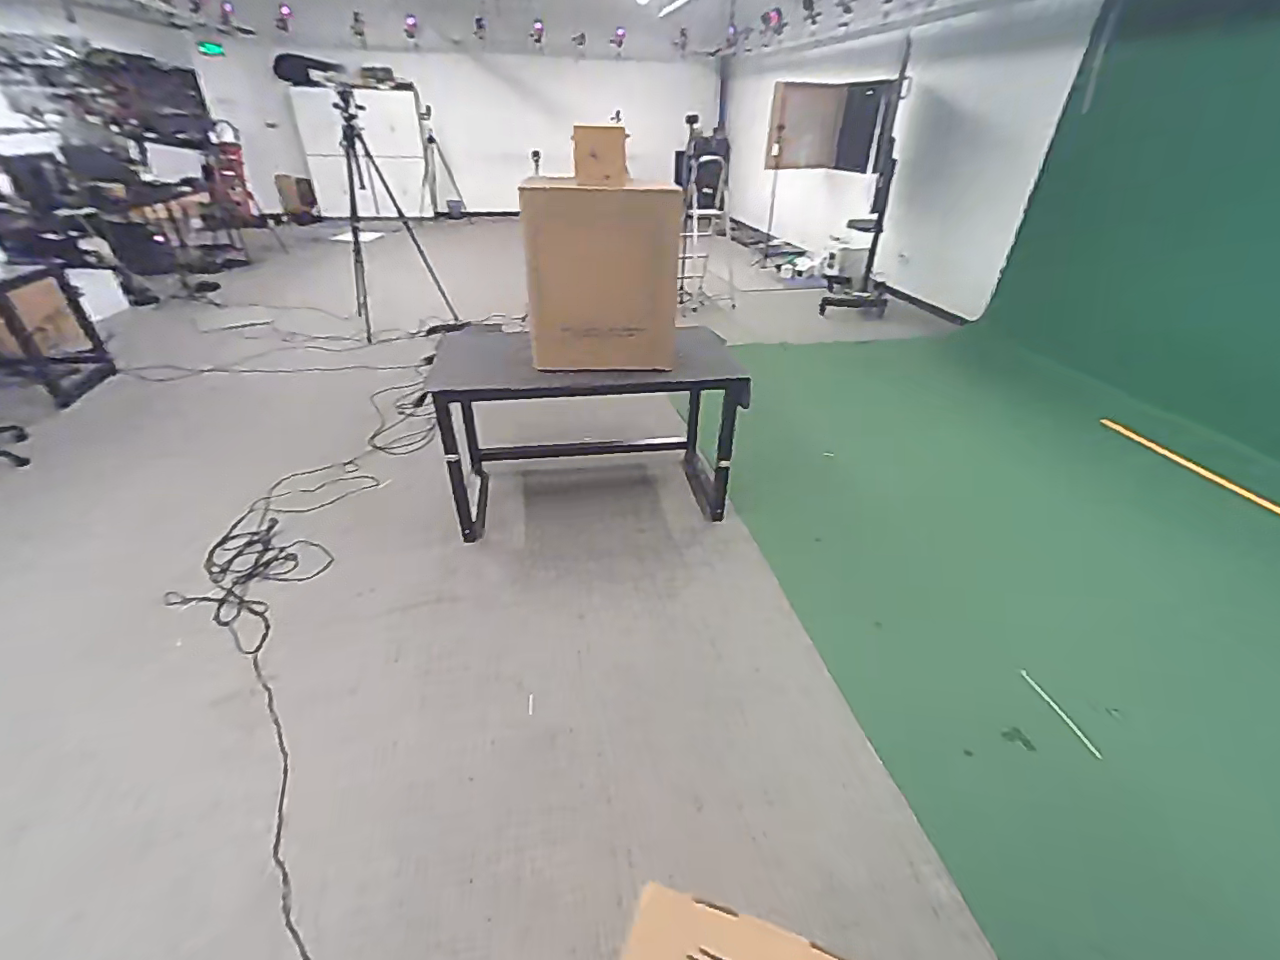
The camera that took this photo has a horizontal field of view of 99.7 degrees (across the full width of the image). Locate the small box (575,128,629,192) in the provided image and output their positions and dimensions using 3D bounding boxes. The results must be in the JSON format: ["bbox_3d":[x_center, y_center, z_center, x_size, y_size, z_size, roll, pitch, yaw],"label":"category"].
[{"bbox_3d":[-0.121,-1.053,1.778,0.168,0.176,0.179,1,35,-1],"label":"small box"}]
